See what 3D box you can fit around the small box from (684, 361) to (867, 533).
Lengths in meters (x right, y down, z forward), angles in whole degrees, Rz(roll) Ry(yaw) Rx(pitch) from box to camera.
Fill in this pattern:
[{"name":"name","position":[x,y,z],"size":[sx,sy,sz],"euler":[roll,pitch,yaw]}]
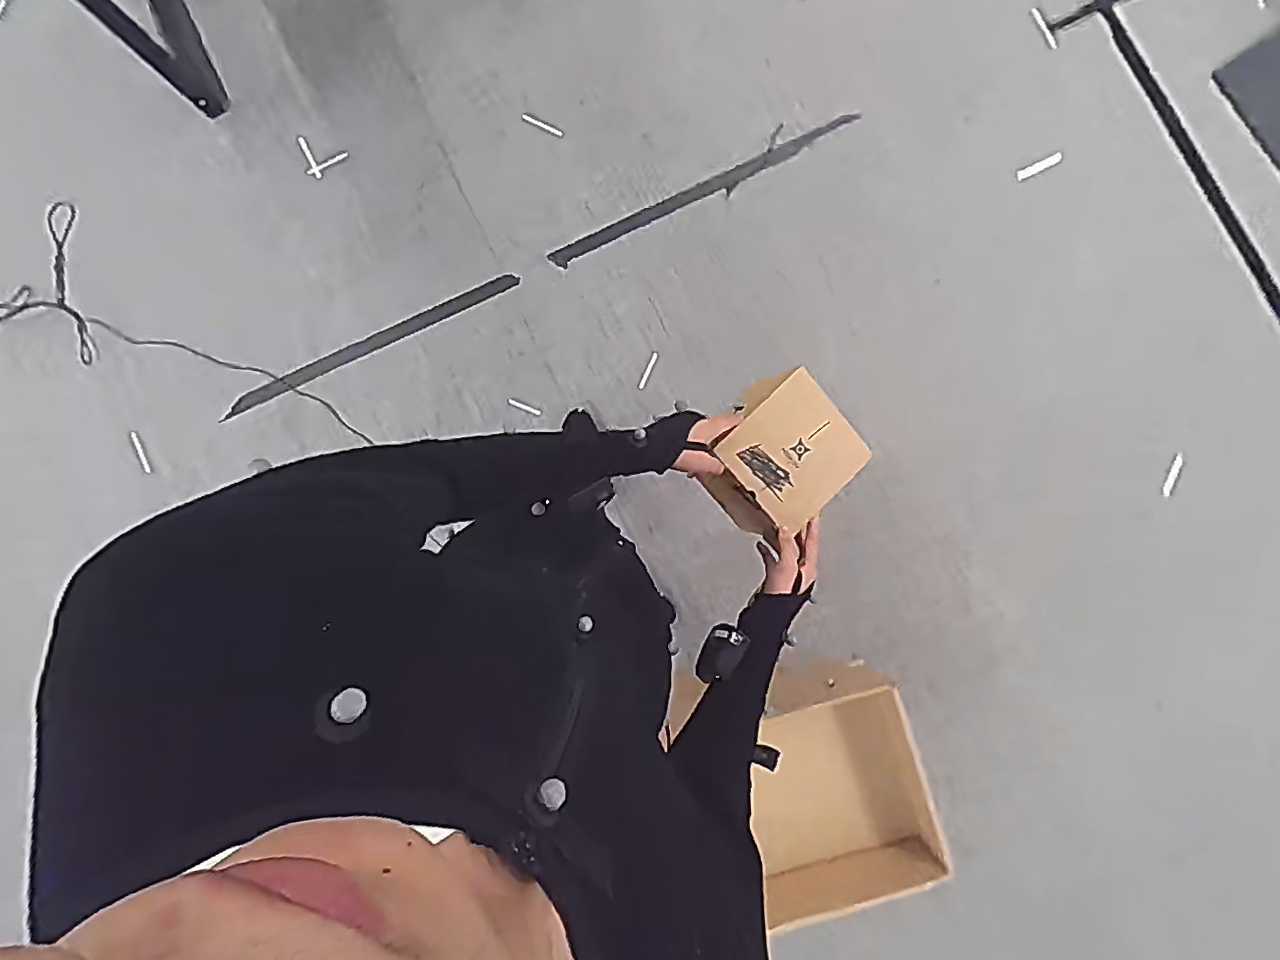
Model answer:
[{"name":"small box","position":[0.184,-0.044,0.801],"size":[0.179,0.176,0.168],"euler":[-44,98,-9]}]
